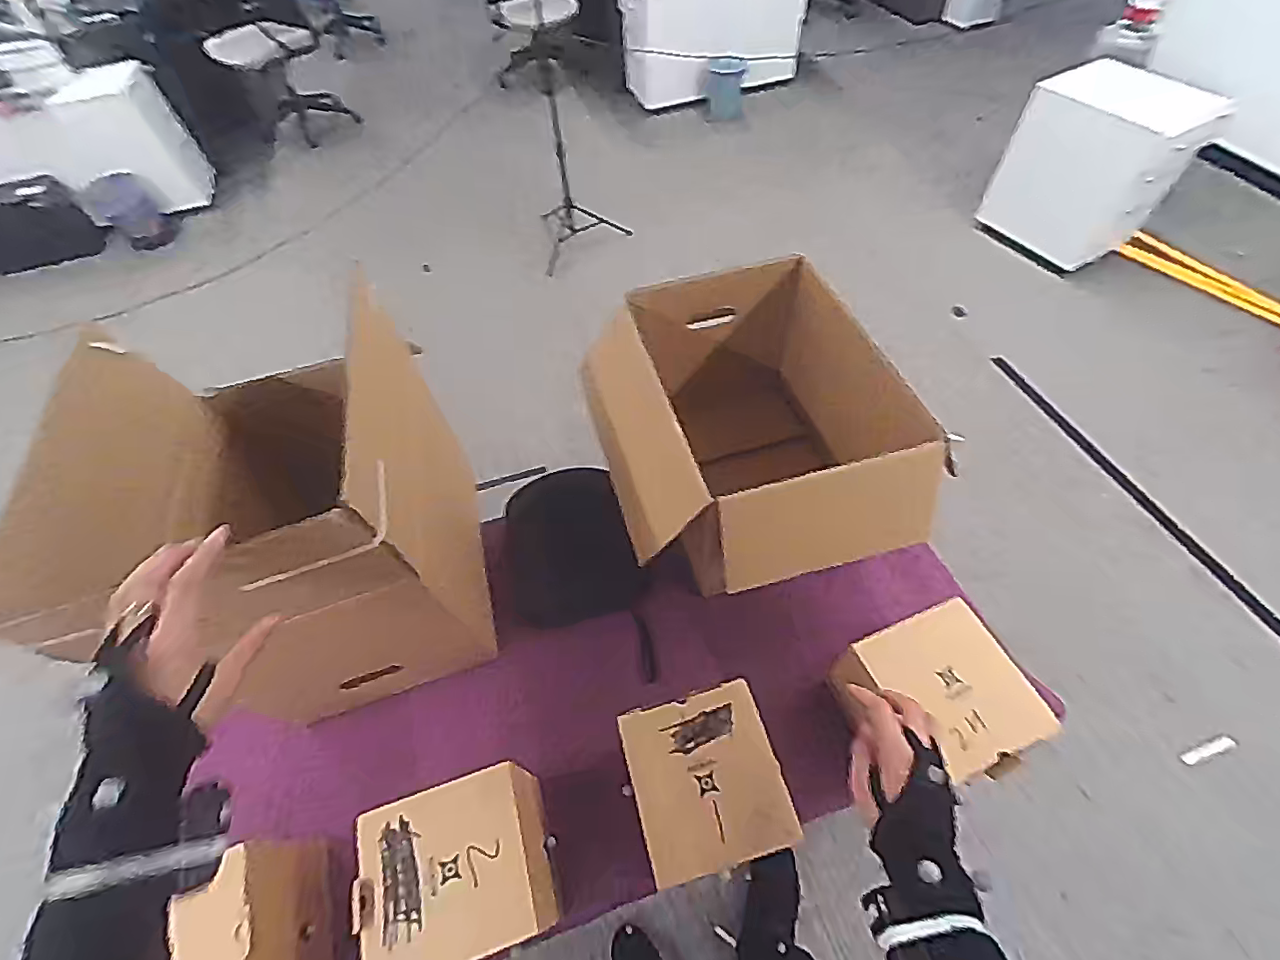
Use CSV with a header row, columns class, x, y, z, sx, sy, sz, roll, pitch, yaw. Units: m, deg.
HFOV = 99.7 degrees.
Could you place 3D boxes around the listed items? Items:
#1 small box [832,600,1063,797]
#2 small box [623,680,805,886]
class,x,y,z,sx,sy,sz,roll,pitch,yaw
small box,0.379,0.290,0.710,0.168,0.176,0.179,-20,57,-8
small box,0.080,0.376,0.675,0.168,0.176,0.179,-14,57,-6
